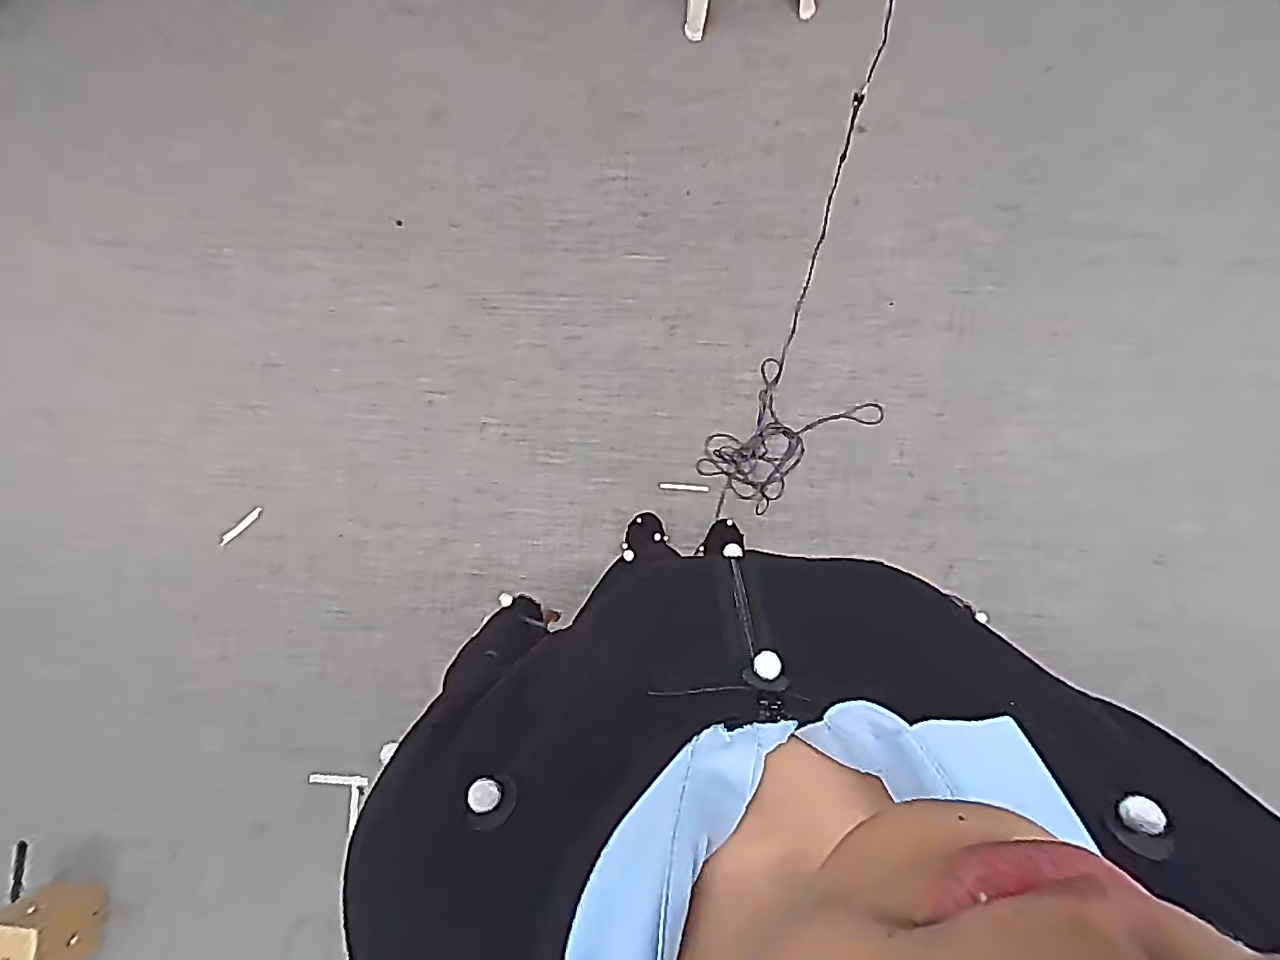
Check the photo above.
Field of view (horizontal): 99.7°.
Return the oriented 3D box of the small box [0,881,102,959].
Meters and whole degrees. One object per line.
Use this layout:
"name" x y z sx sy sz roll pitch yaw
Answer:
"small box" -1.617 1.223 1.458 0.179 0.176 0.168 1 85 5
